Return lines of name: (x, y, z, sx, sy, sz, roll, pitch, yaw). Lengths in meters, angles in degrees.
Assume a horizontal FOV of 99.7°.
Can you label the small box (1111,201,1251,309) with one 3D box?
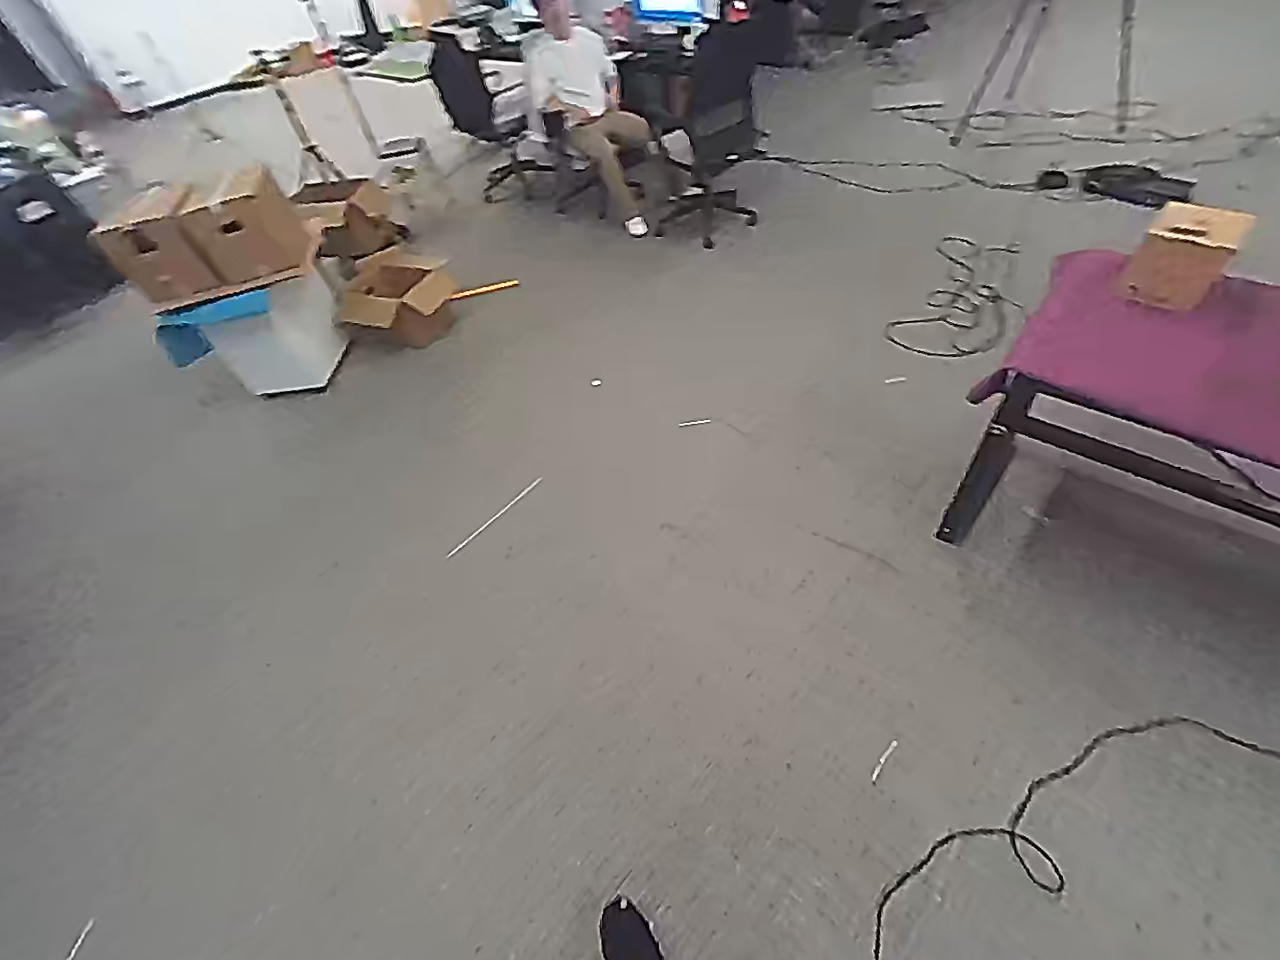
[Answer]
small box: (1.300, -0.544, 1.313, 0.168, 0.176, 0.179, 34, 64, 31)
